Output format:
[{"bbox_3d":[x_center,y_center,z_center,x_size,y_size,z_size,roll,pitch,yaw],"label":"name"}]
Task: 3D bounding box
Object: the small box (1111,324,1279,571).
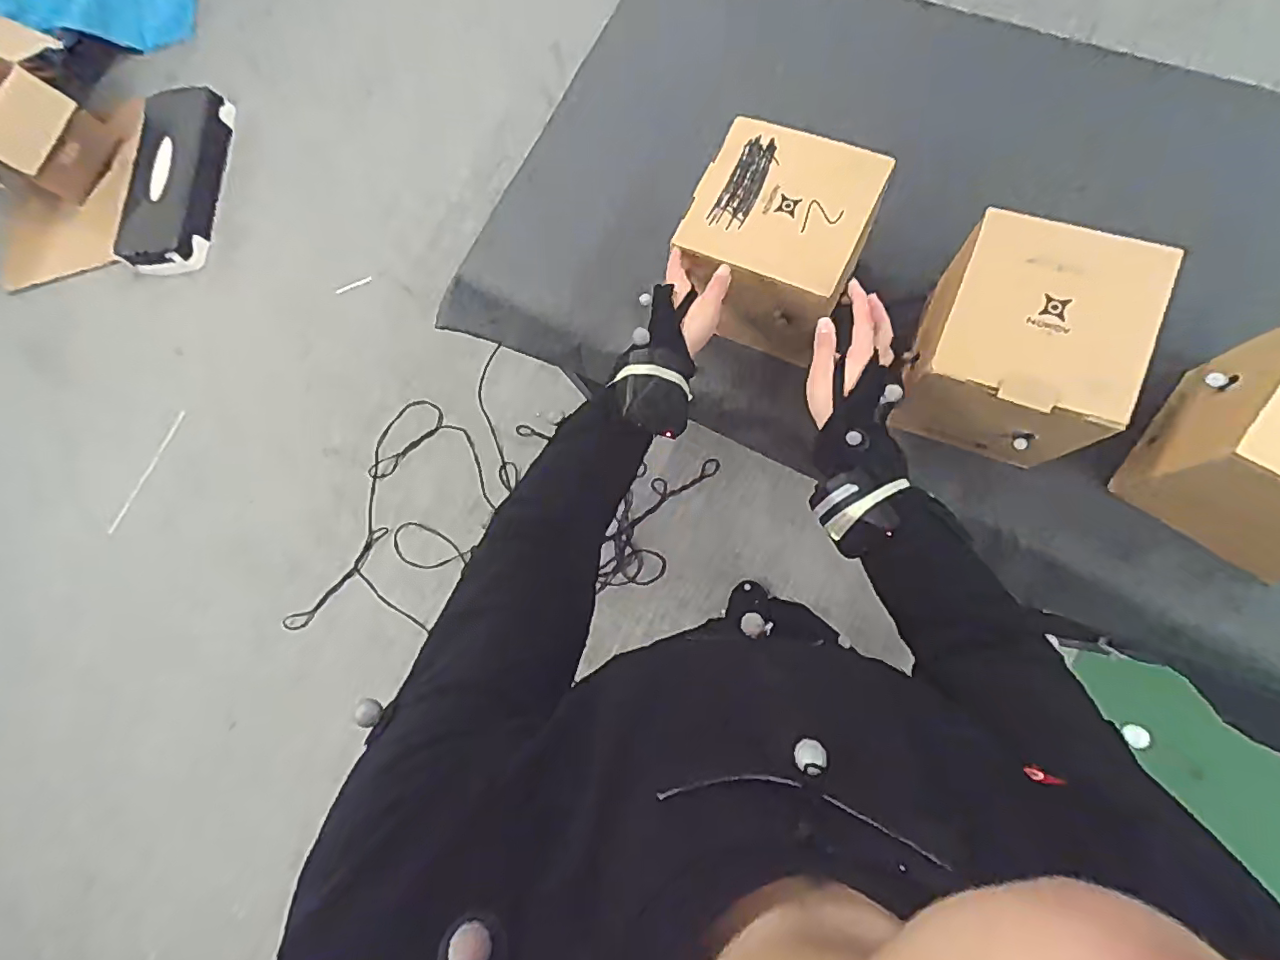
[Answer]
[{"bbox_3d":[0.607,-0.026,0.499,0.179,0.176,0.168,36,87,14],"label":"small box"}]
